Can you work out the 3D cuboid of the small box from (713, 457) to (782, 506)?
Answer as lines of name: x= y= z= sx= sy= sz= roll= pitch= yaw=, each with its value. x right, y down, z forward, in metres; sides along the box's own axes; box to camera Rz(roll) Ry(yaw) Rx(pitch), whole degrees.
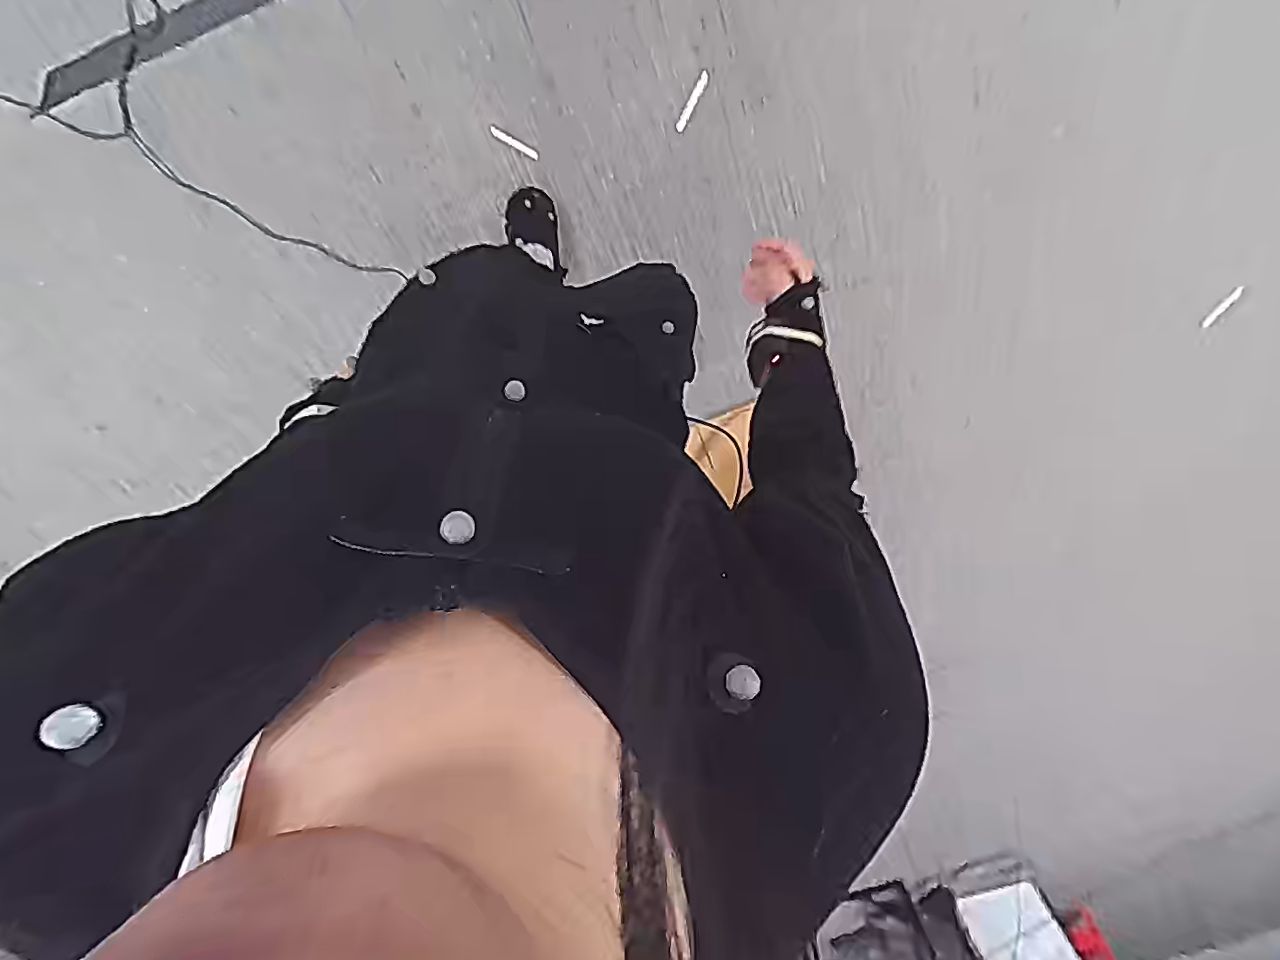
small box: x=0.327 y=0.053 z=1.584 sx=0.168 sy=0.176 sz=0.179 roll=-23 pitch=119 yaw=8
